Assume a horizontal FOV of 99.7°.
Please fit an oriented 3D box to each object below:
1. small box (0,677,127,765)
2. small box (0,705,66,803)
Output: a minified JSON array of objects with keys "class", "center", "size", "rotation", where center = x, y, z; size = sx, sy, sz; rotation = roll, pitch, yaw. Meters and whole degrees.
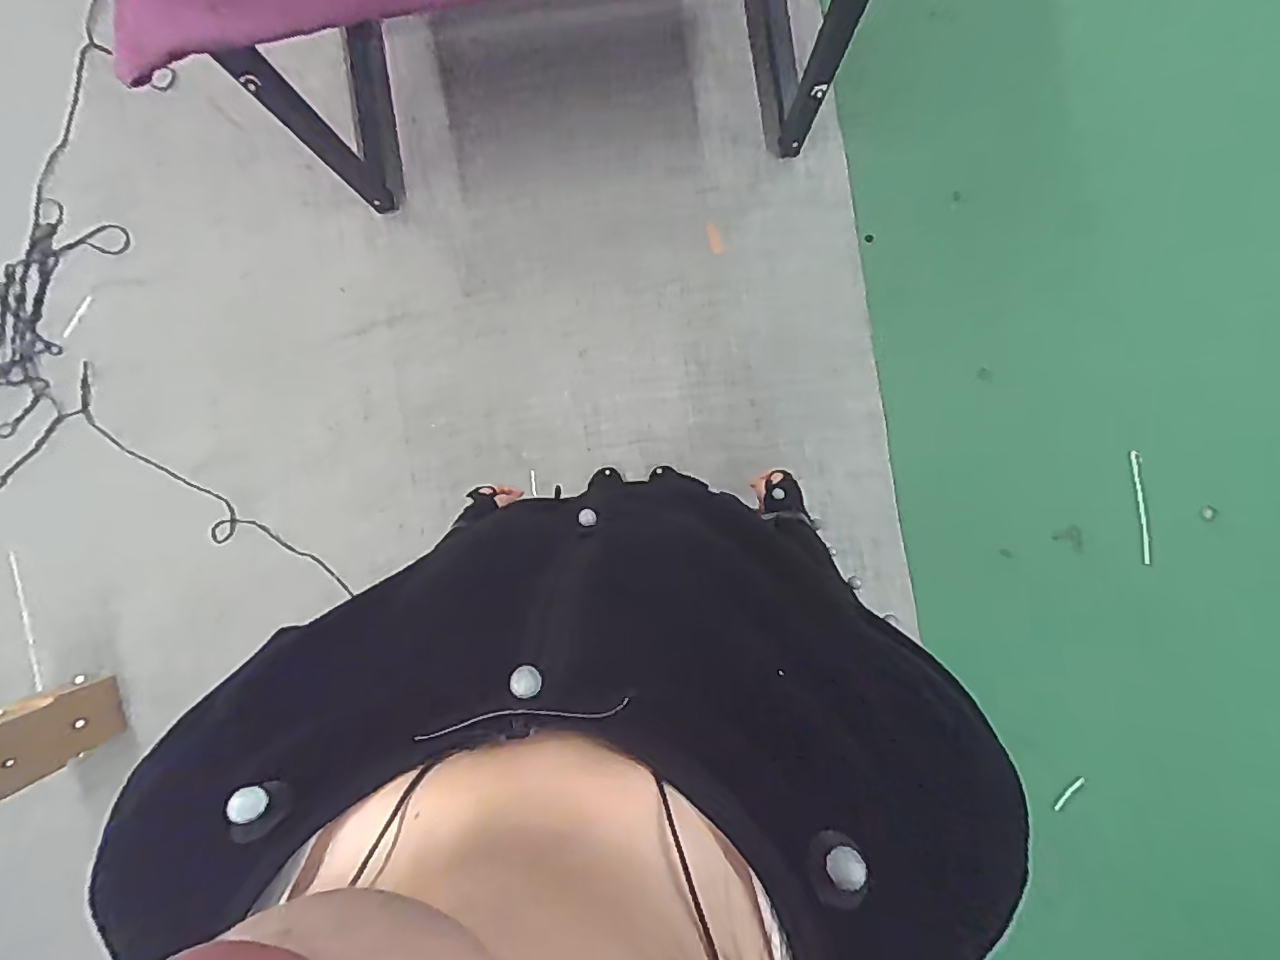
[{"class":"small box","center":[-1.570,0.666,1.484],"size":[0.168,0.176,0.179],"rotation":[-10,90,1]},{"class":"small box","center":[-1.572,0.679,1.320],"size":[0.168,0.176,0.179],"rotation":[-10,91,1]}]
